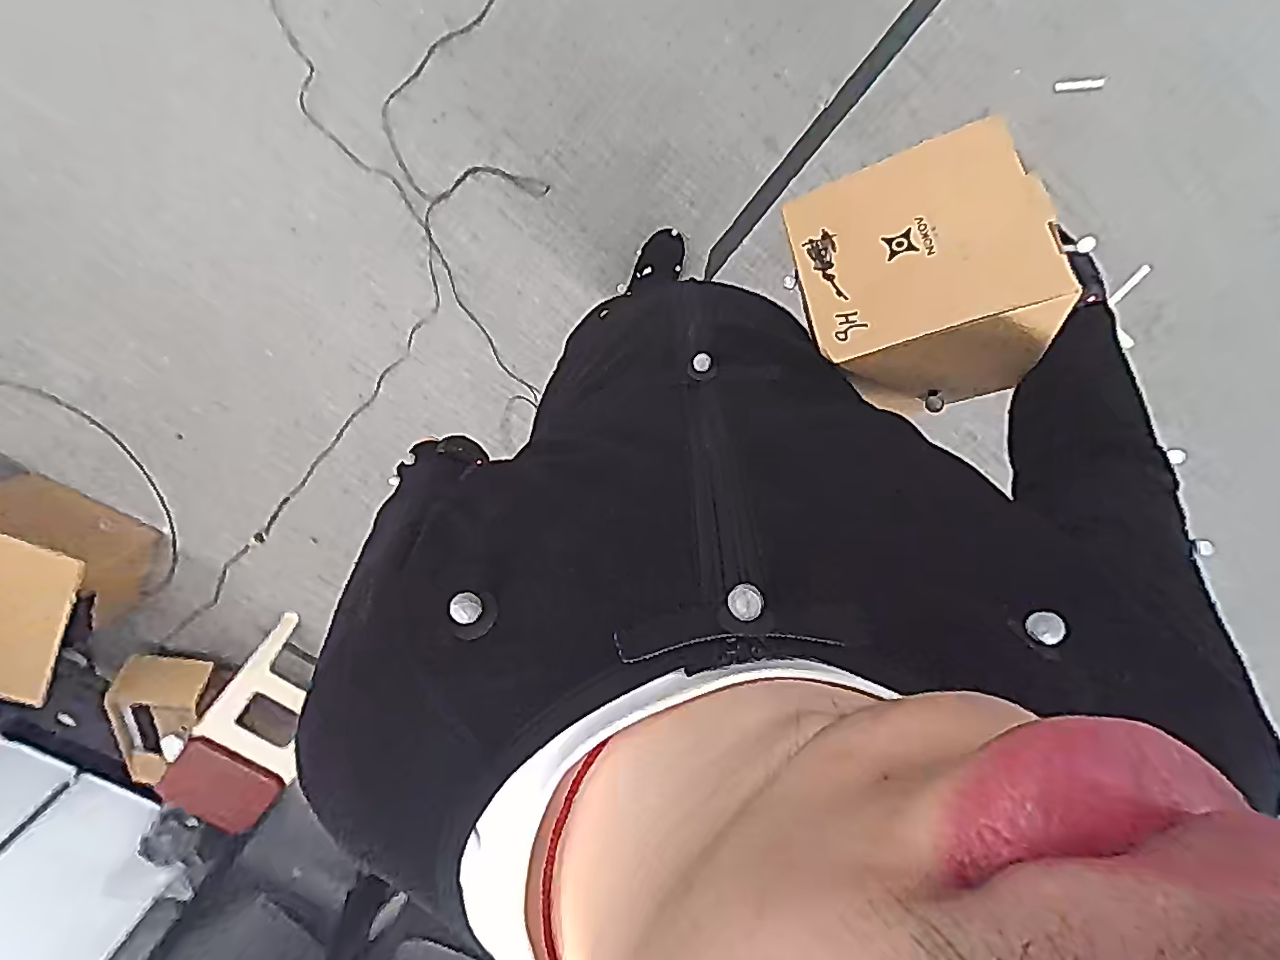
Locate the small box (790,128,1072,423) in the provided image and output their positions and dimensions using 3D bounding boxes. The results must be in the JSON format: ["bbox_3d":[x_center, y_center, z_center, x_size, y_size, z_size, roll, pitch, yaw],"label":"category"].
[{"bbox_3d":[0.253,-0.172,0.511,0.179,0.176,0.168,-14,71,19],"label":"small box"}]
